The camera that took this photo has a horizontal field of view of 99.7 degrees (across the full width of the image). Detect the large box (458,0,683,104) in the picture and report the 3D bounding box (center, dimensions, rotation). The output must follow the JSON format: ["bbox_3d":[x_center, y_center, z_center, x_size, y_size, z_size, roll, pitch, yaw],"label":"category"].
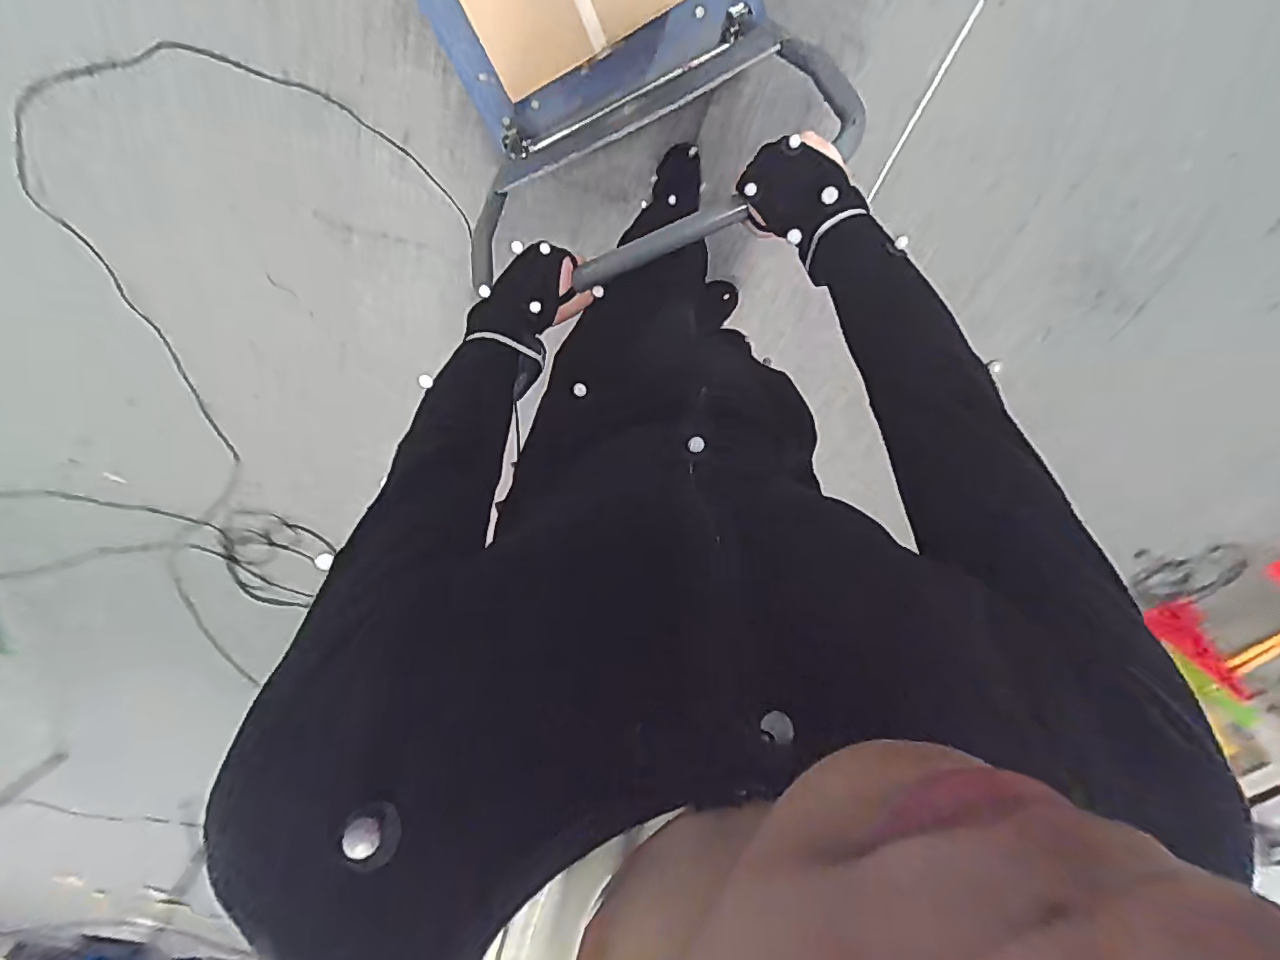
[{"bbox_3d":[-0.146,-0.868,0.798,0.320,0.320,0.408,-20,130,16],"label":"large box"}]
